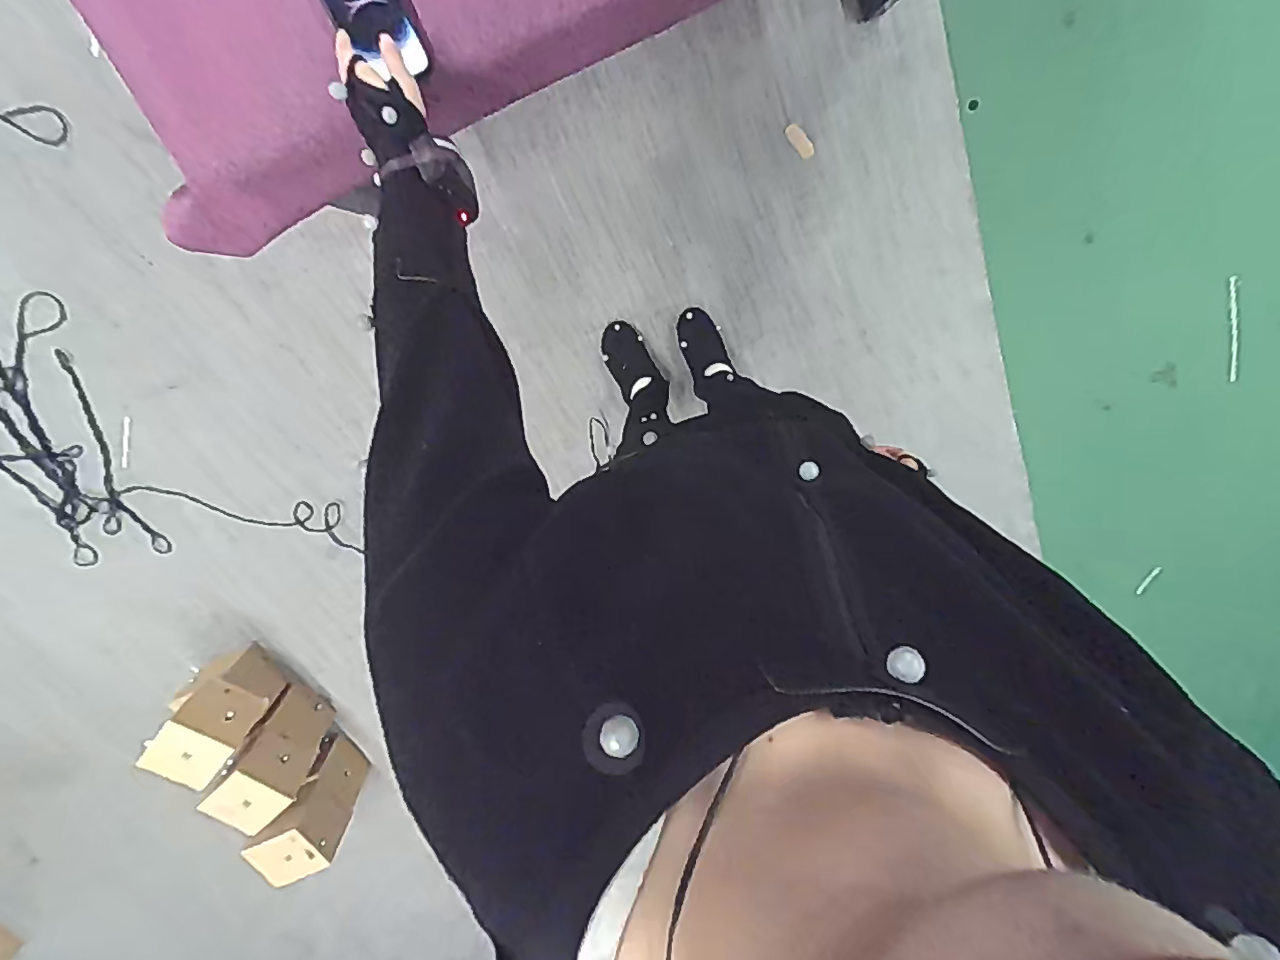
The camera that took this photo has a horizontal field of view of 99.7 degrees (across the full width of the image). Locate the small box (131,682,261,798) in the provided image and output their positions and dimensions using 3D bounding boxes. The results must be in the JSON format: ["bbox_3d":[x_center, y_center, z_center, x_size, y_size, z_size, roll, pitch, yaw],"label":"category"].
[{"bbox_3d":[-1.121,0.658,1.384,0.168,0.176,0.179,38,103,-17],"label":"small box"}]

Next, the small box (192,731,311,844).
[{"bbox_3d":[-1.029,0.819,1.454,0.179,0.176,0.168,-41,109,10],"label":"small box"}]

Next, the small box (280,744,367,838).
[{"bbox_3d":[-0.992,0.954,1.680,0.168,0.176,0.179,-25,111,4],"label":"small box"}]
